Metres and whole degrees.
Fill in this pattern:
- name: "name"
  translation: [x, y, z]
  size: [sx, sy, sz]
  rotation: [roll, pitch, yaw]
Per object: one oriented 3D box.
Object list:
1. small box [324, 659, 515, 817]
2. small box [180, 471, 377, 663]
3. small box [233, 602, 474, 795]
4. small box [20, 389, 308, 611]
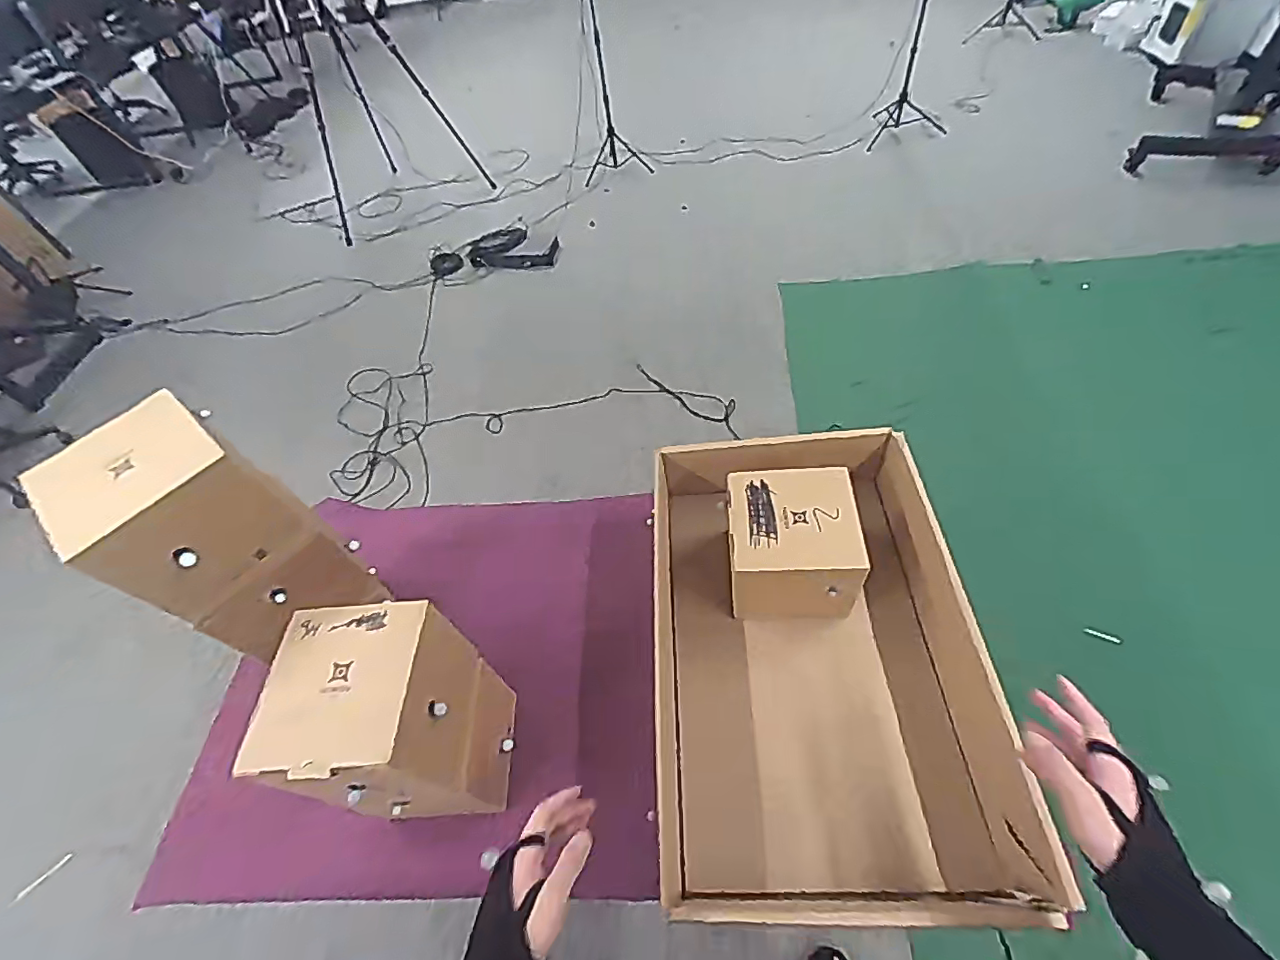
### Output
- name: "small box"
  translation: [-0.291, 0.366, 0.759]
  size: [0.179, 0.176, 0.168]
  rotation: [-6, 52, 4]
- name: "small box"
  translation: [-0.520, 0.128, 0.767]
  size: [0.168, 0.176, 0.179]
  rotation: [34, 64, 27]
- name: "small box"
  translation: [-0.311, 0.262, 0.634]
  size: [0.168, 0.176, 0.179]
  rotation: [-5, 52, 4]
- name: "small box"
  translation: [-0.542, 0.031, 0.639]
  size: [0.179, 0.176, 0.168]
  rotation: [32, 64, 27]
